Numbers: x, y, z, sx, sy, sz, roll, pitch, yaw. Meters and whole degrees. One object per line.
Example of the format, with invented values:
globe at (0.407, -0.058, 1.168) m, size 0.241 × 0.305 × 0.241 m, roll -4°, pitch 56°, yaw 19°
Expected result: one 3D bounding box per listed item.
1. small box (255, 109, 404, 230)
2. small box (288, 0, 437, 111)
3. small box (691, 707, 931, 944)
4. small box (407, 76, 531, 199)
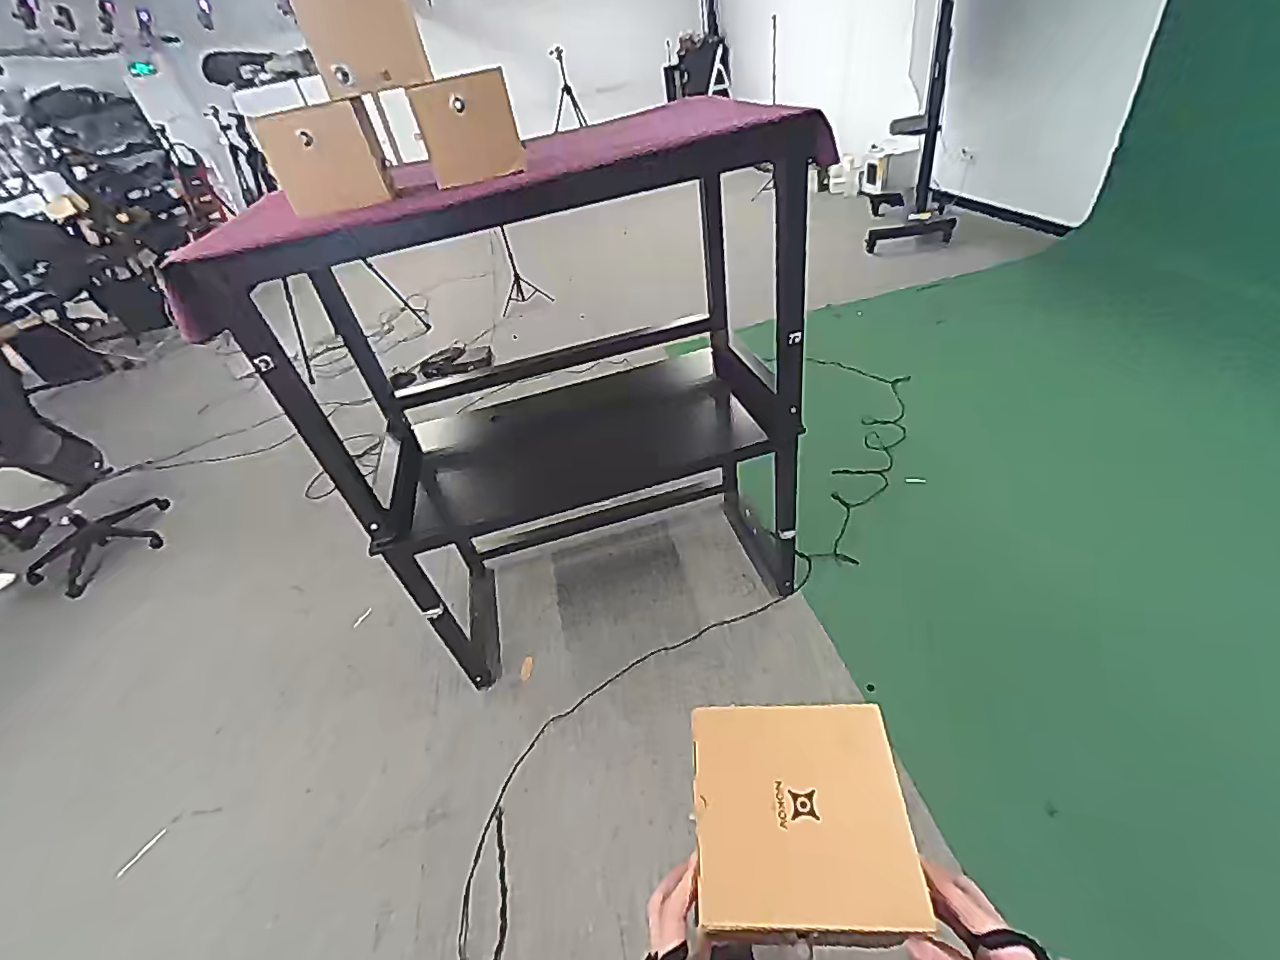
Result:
small box at (-0.584, -0.600, 1.043) m, size 0.179 × 0.176 × 0.168 m, roll -17°, pitch 40°, yaw -6°
small box at (-0.475, -0.767, 0.956) m, size 0.168 × 0.176 × 0.179 m, roll -14°, pitch 38°, yaw -3°
small box at (0.144, 0.331, 0.518) m, size 0.179 × 0.176 × 0.168 m, roll -5°, pitch 47°, yaw 8°
small box at (-0.325, -0.667, 1.057) m, size 0.179 × 0.176 × 0.168 m, roll -16°, pitch 39°, yaw -4°
